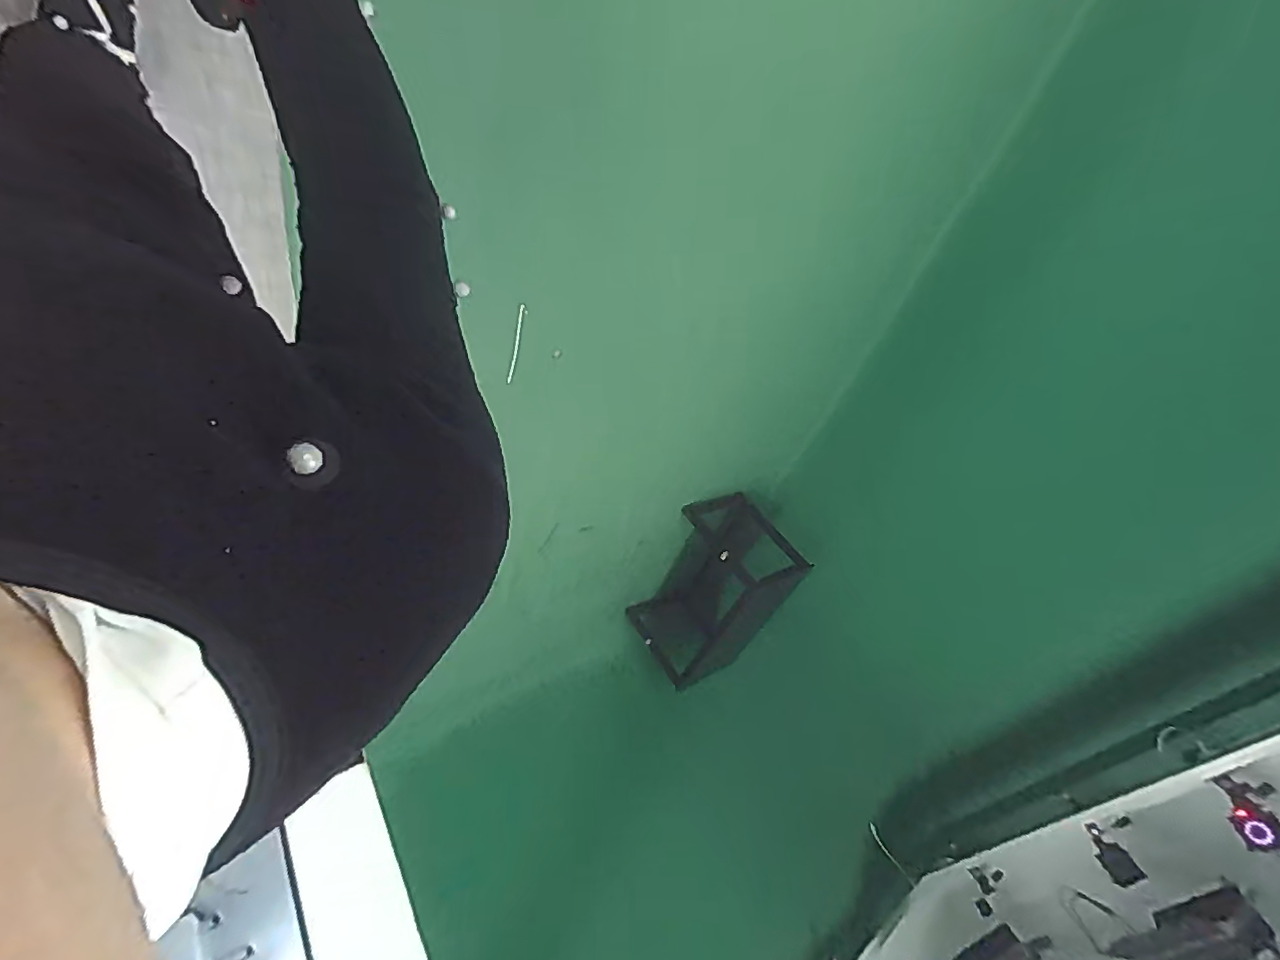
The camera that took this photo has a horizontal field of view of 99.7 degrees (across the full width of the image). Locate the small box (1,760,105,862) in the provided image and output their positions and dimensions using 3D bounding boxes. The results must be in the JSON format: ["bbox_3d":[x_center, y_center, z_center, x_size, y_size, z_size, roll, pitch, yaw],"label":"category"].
[{"bbox_3d":[-1.659,0.937,1.540,0.168,0.176,0.179,-12,139,-36],"label":"small box"}]
